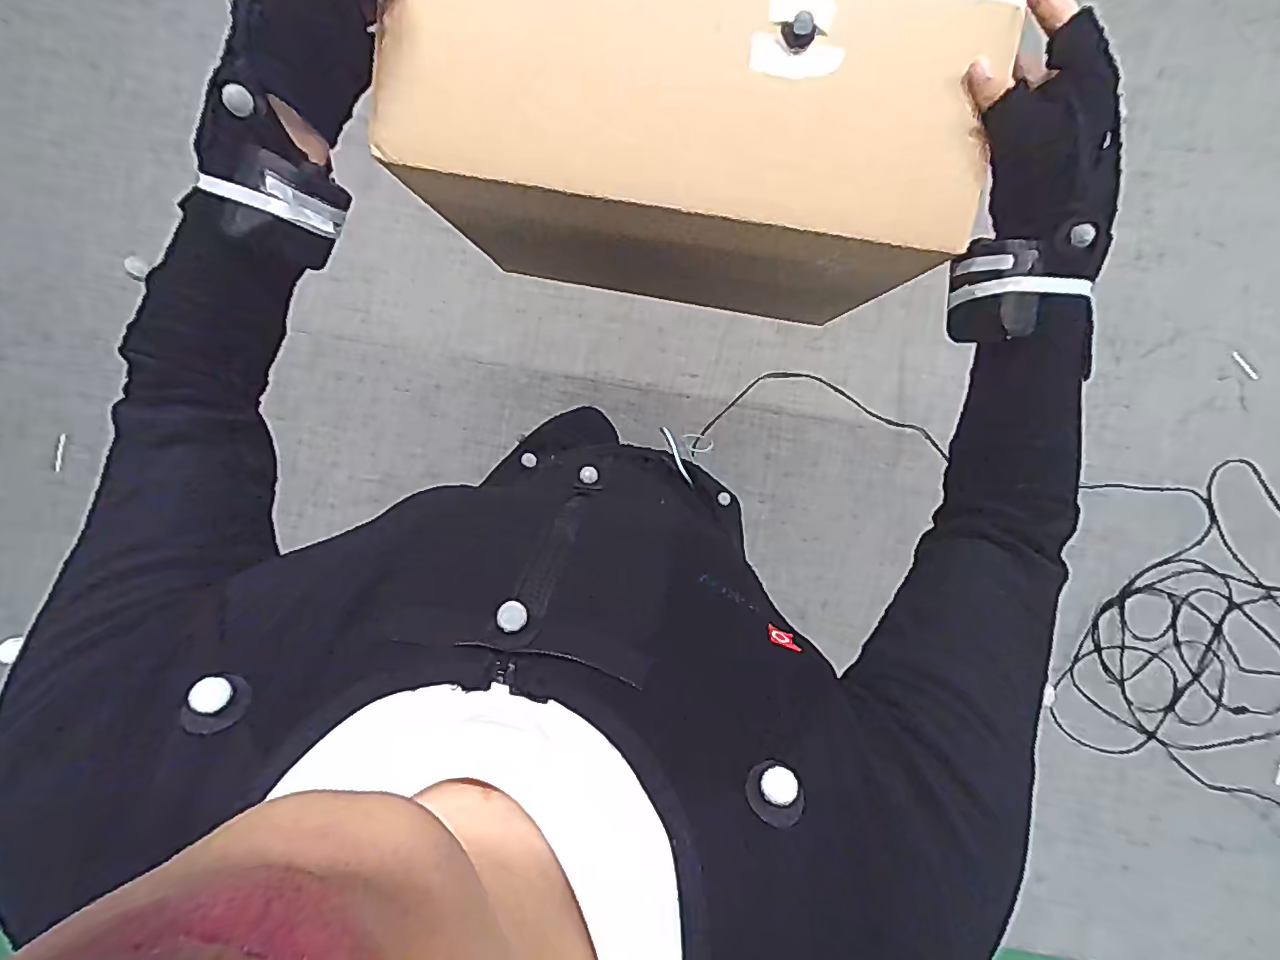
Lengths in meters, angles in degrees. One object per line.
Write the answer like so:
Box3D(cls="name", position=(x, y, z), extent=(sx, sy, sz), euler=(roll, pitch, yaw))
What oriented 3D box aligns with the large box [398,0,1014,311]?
Box3D(cls="large box", position=(0.052, -0.364, 0.499), extent=(0.408, 0.320, 0.320), euler=(9, 99, 1))
